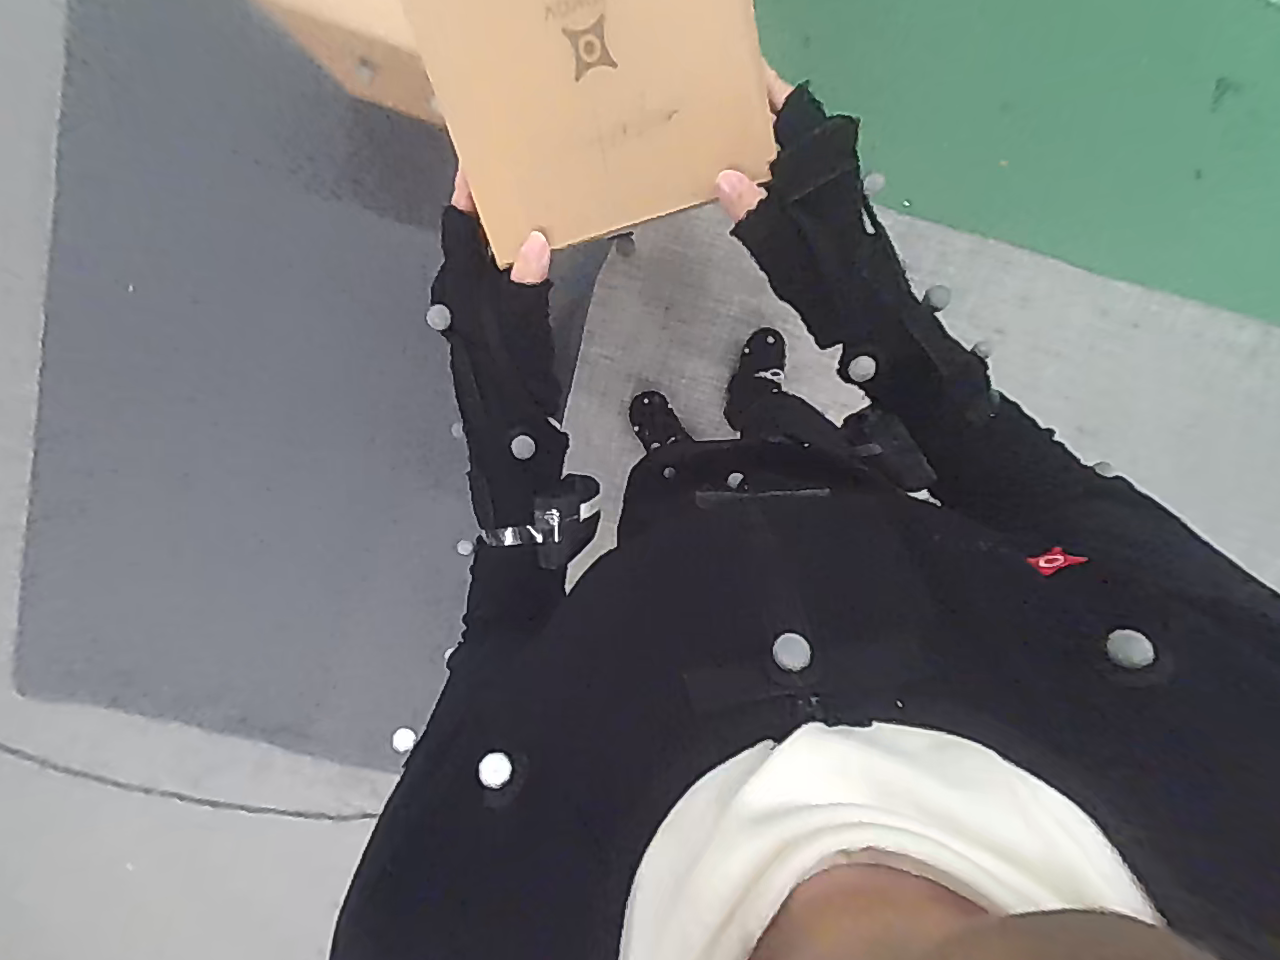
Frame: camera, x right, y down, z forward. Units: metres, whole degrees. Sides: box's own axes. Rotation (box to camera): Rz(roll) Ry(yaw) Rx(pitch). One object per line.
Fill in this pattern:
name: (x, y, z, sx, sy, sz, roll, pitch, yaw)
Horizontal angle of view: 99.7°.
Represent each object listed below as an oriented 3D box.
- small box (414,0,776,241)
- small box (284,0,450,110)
small box: (-0.026, -0.262, 0.338, 0.168, 0.176, 0.179, -14, 115, 6)
small box: (-0.226, -0.492, 0.522, 0.179, 0.176, 0.168, 18, 102, -3)
